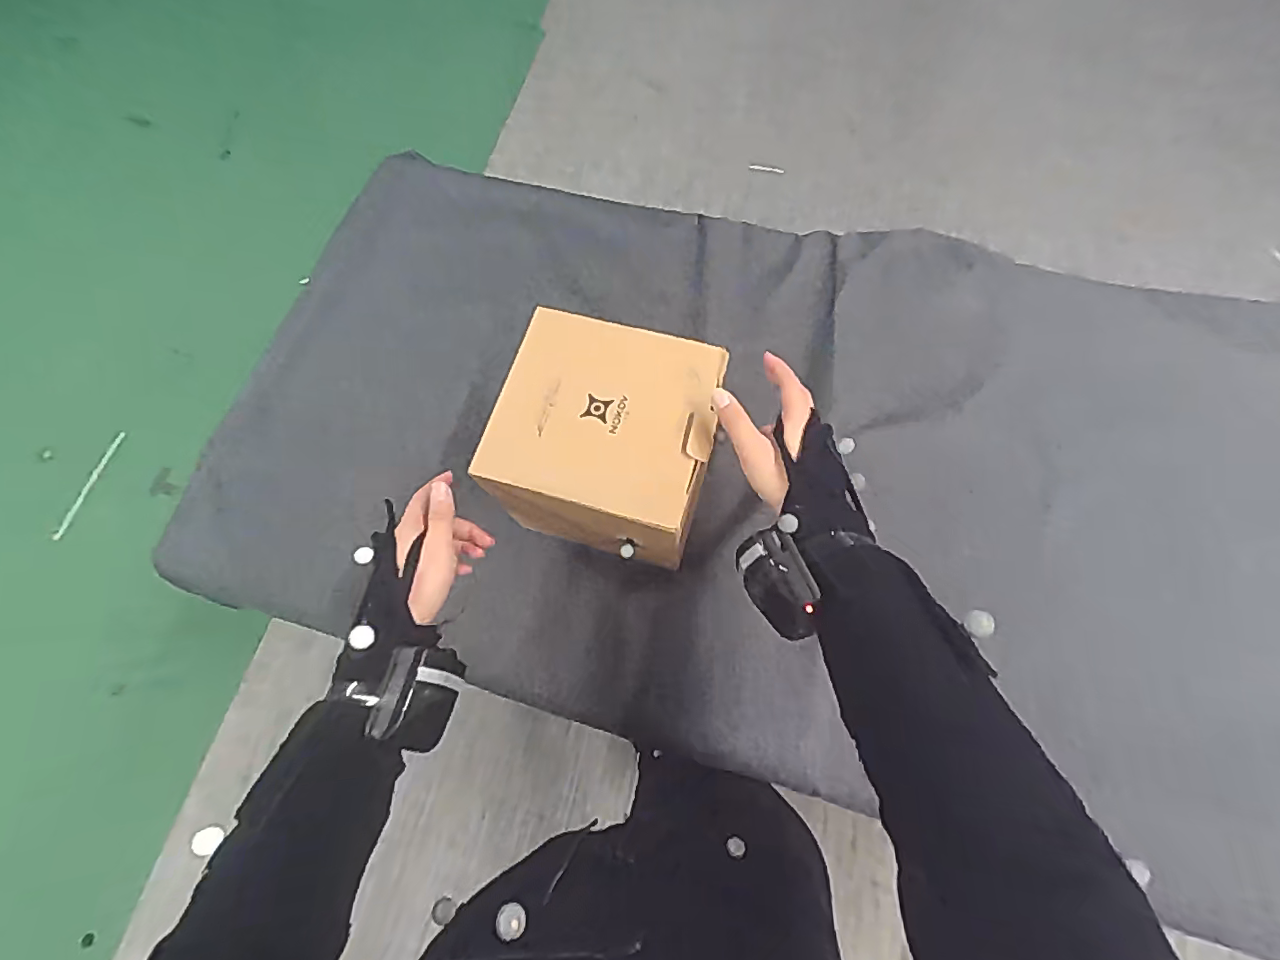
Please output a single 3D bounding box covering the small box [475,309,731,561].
[{"bbox_3d":[-0.023,-0.031,0.518,0.179,0.176,0.168,14,70,9],"label":"small box"}]
